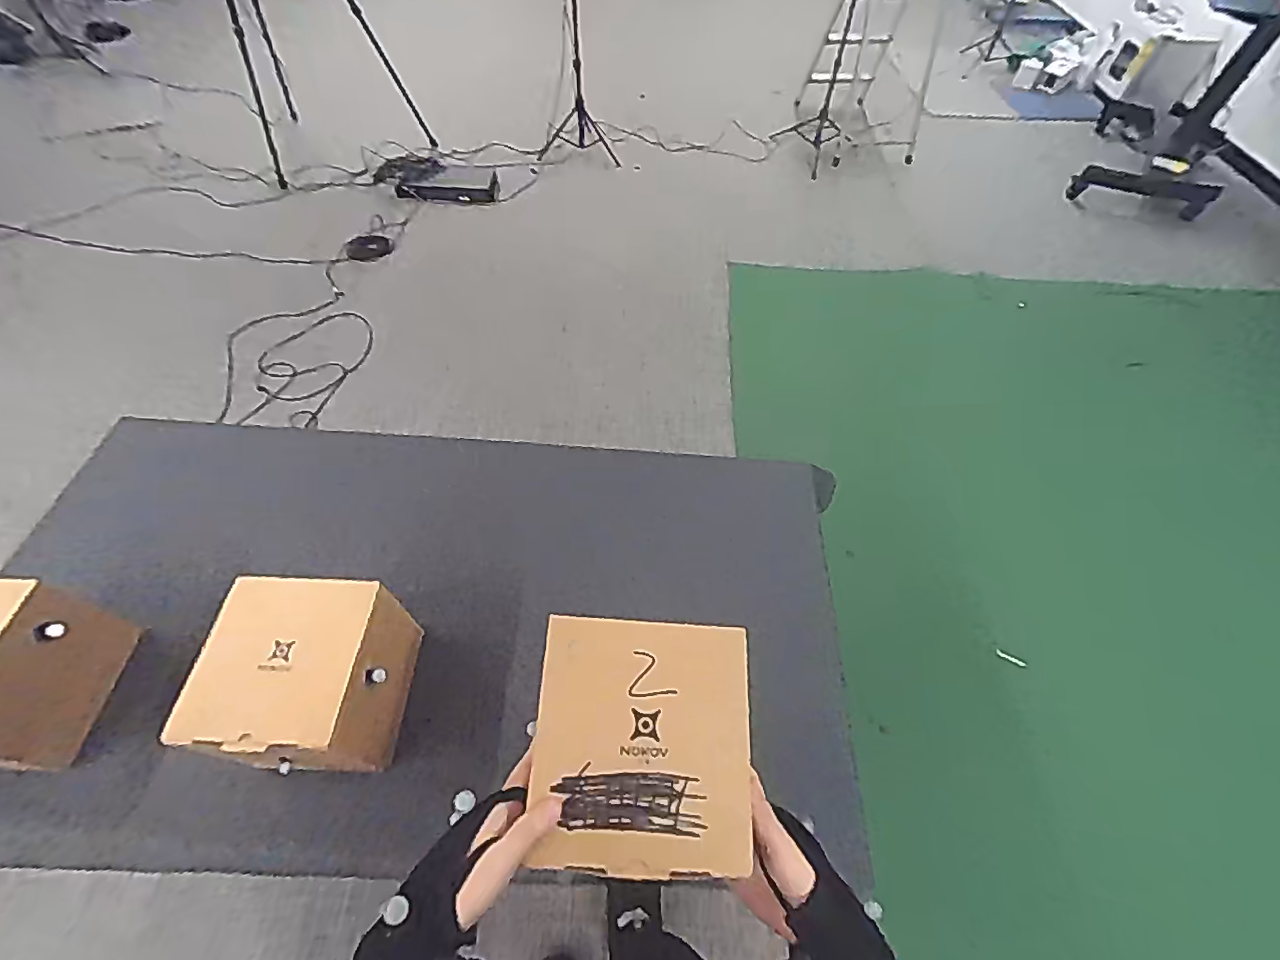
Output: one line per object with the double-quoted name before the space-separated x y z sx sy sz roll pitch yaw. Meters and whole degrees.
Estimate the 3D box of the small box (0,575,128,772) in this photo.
"small box" -0.755 0.221 0.616 0.168 0.176 0.179 2 55 -1

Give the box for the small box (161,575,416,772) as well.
"small box" -0.380 0.229 0.632 0.168 0.176 0.179 2 55 -1
